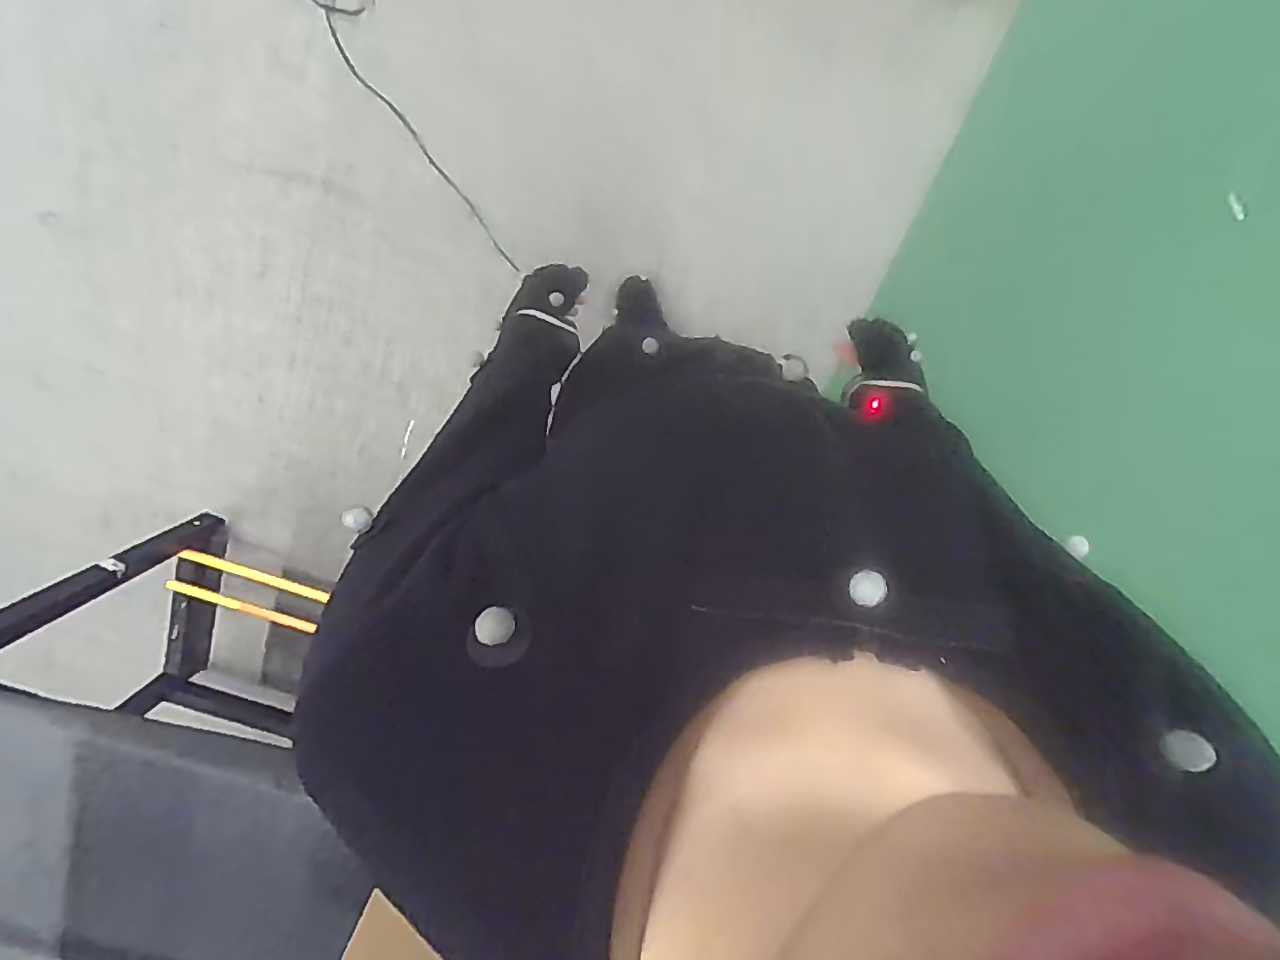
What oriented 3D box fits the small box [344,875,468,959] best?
[{"bbox_3d":[-0.410,0.828,0.920,0.168,0.176,0.179,19,107,-6],"label":"small box"}]
